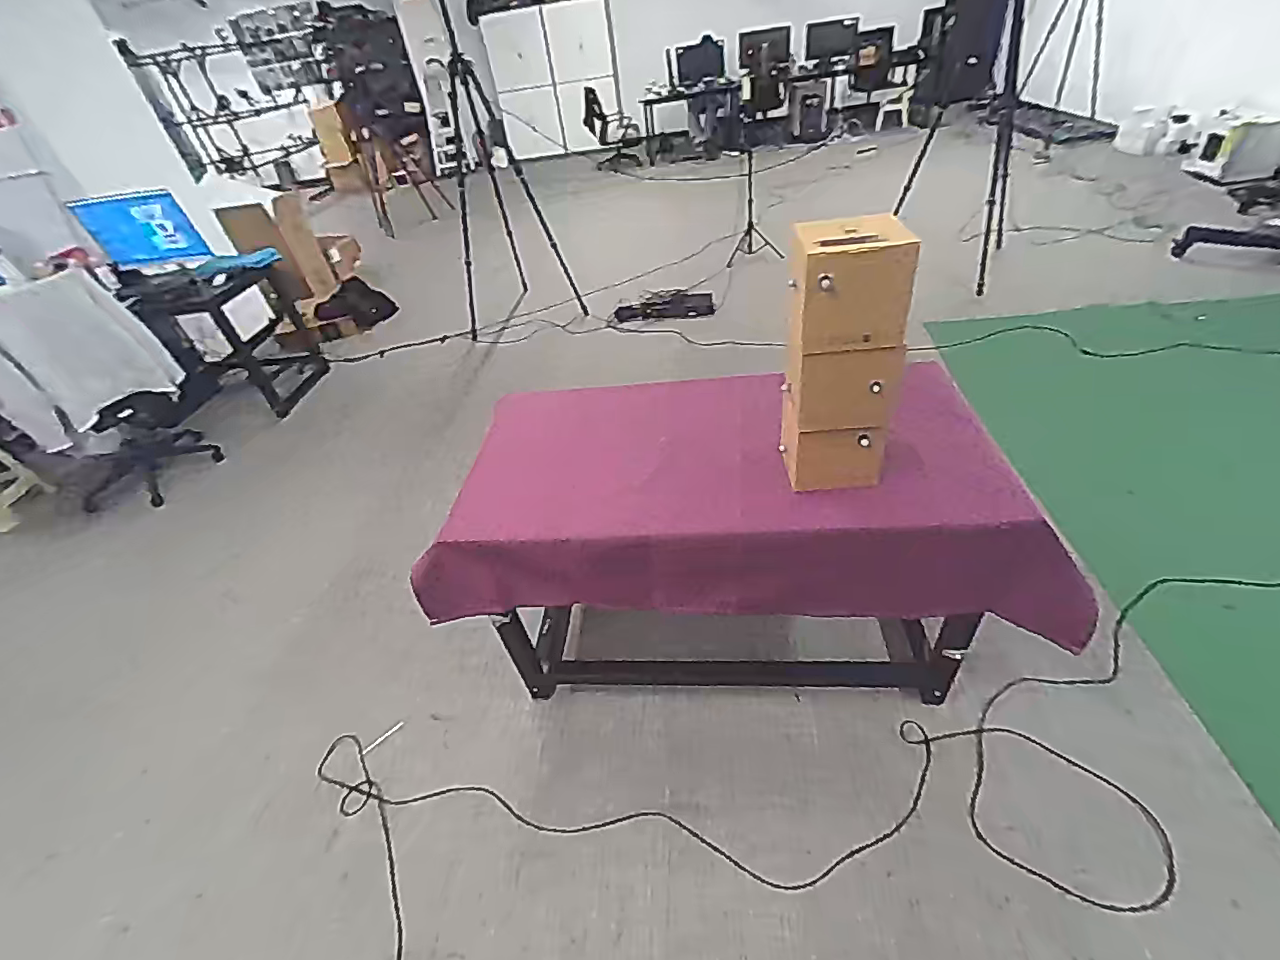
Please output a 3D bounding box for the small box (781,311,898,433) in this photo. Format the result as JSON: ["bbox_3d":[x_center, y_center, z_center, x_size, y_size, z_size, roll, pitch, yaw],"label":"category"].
[{"bbox_3d":[0.373,-0.206,1.043,0.179,0.176,0.168,-4,38,8],"label":"small box"}]

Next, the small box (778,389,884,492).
[{"bbox_3d":[0.398,-0.092,1.158,0.179,0.176,0.168,-5,38,6],"label":"small box"}]
